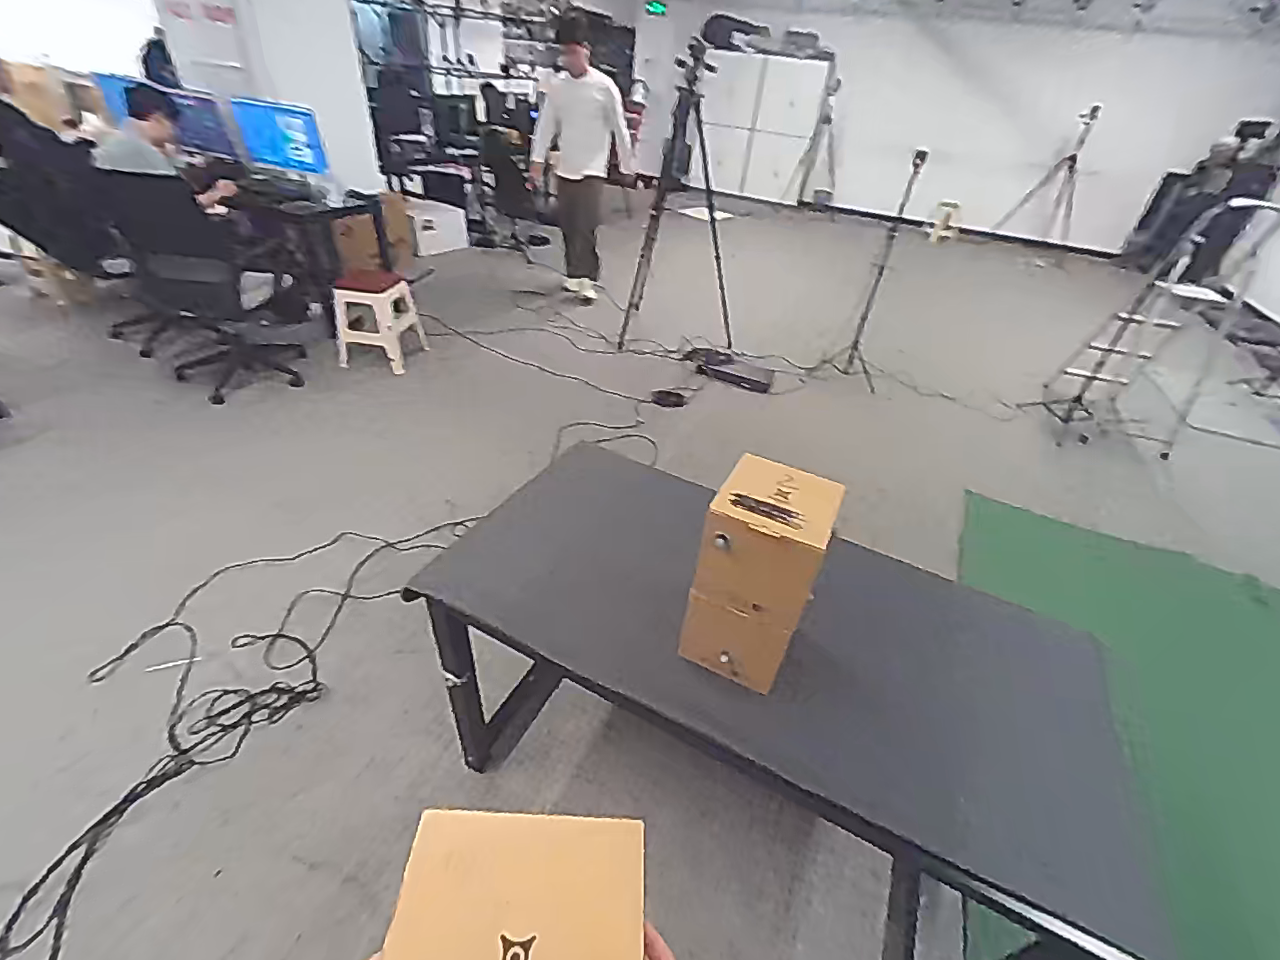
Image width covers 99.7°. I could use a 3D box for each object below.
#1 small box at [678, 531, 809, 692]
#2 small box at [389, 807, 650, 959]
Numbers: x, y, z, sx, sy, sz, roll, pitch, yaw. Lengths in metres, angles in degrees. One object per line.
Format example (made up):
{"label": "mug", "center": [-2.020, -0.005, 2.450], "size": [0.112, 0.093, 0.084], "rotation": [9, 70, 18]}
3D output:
{"label": "small box", "center": [0.176, 0.226, 0.941], "size": [0.168, 0.176, 0.179], "rotation": [20, 38, 18]}
{"label": "small box", "center": [-0.086, 0.367, 0.388], "size": [0.168, 0.176, 0.179], "rotation": [6, 39, -4]}
